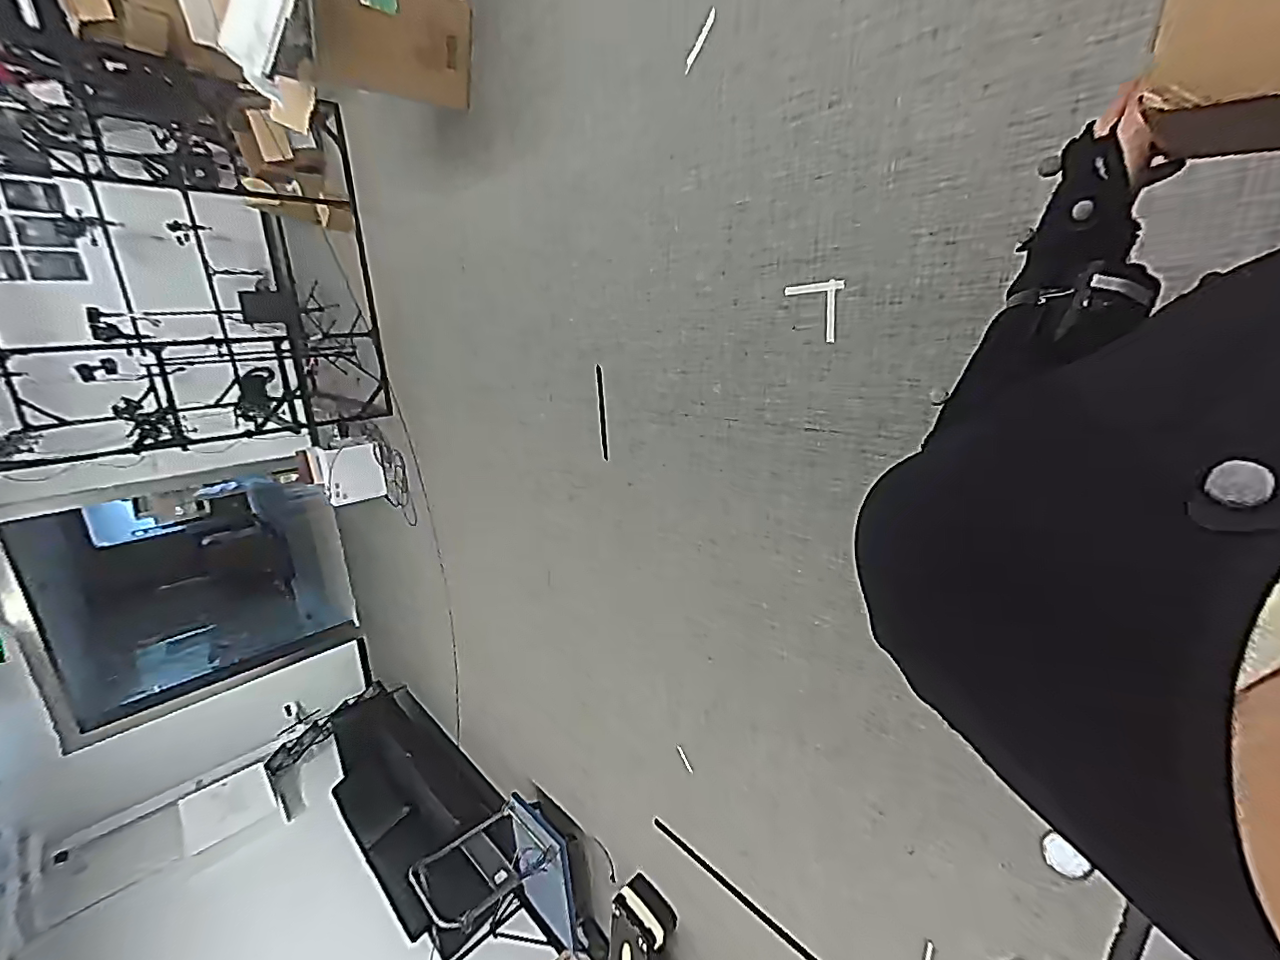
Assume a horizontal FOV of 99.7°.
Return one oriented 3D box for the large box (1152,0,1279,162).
[{"bbox_3d":[0.460,-0.313,0.160,0.408,0.320,0.320,16,120,40],"label":"large box"}]
